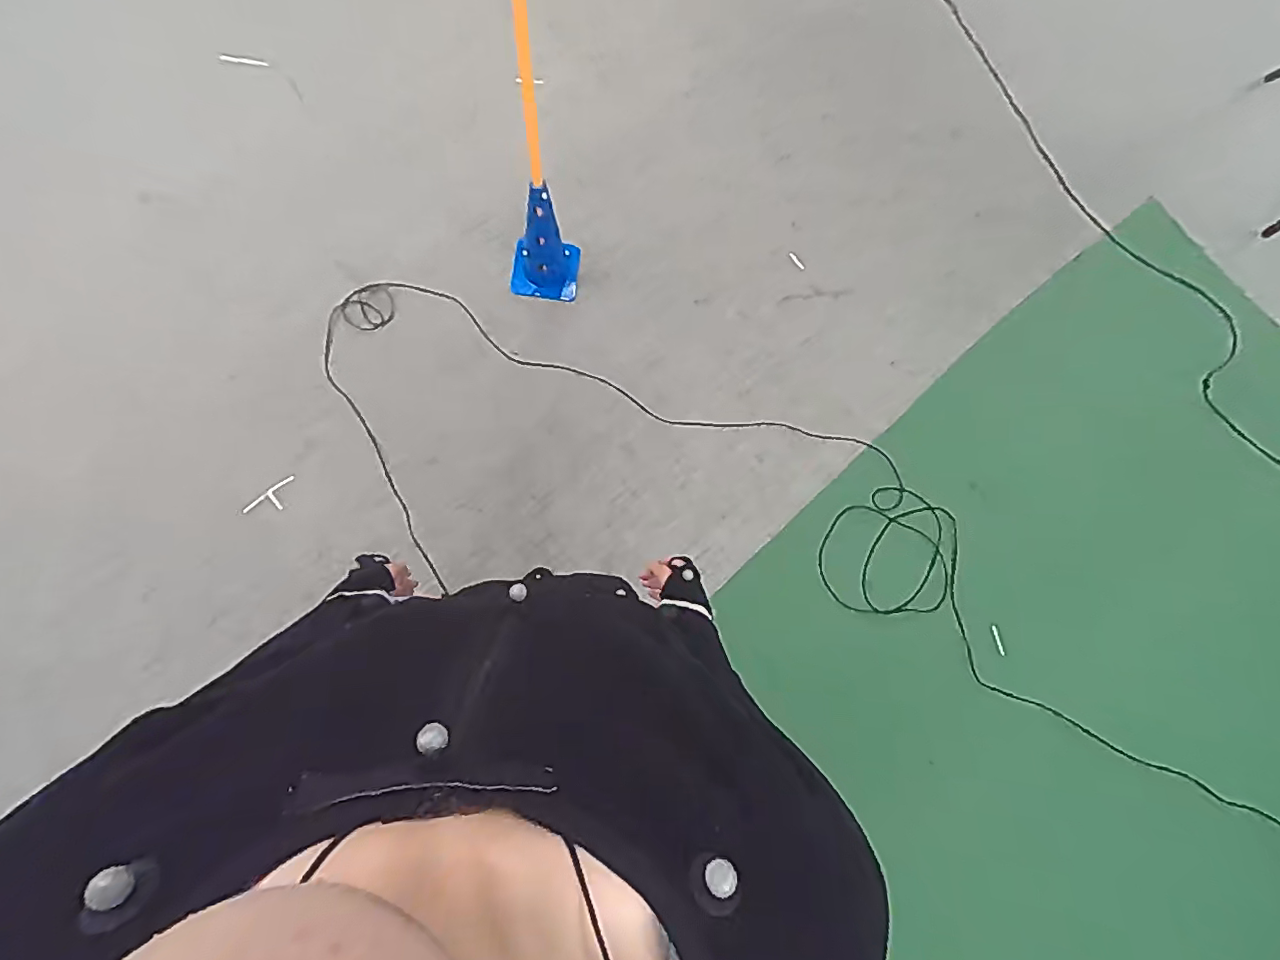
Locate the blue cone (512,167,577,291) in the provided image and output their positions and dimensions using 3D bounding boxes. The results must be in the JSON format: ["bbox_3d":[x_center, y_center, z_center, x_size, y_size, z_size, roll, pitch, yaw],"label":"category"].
[{"bbox_3d":[-0.272,-0.708,1.501,0.192,0.380,0.193,5,75,-6],"label":"blue cone"}]
